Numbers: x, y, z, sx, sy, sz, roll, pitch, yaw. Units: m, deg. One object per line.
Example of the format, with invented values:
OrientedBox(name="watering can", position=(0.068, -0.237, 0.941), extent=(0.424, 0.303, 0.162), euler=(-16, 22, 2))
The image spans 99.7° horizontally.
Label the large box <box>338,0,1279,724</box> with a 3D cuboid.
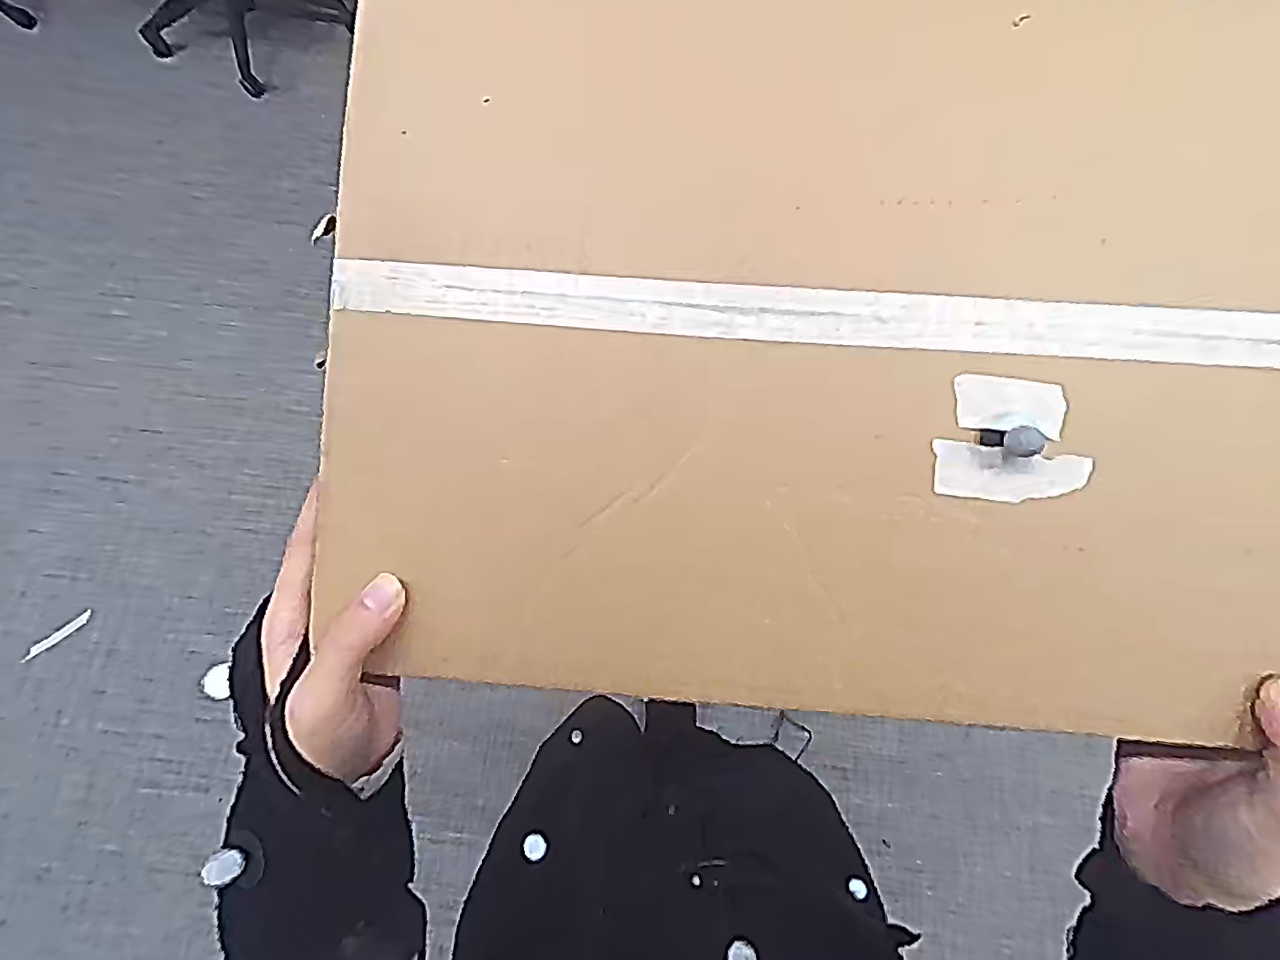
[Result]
OrientedBox(name="large box", position=(0.078, -0.057, 0.376), extent=(0.408, 0.320, 0.320), euler=(4, 89, 0))
